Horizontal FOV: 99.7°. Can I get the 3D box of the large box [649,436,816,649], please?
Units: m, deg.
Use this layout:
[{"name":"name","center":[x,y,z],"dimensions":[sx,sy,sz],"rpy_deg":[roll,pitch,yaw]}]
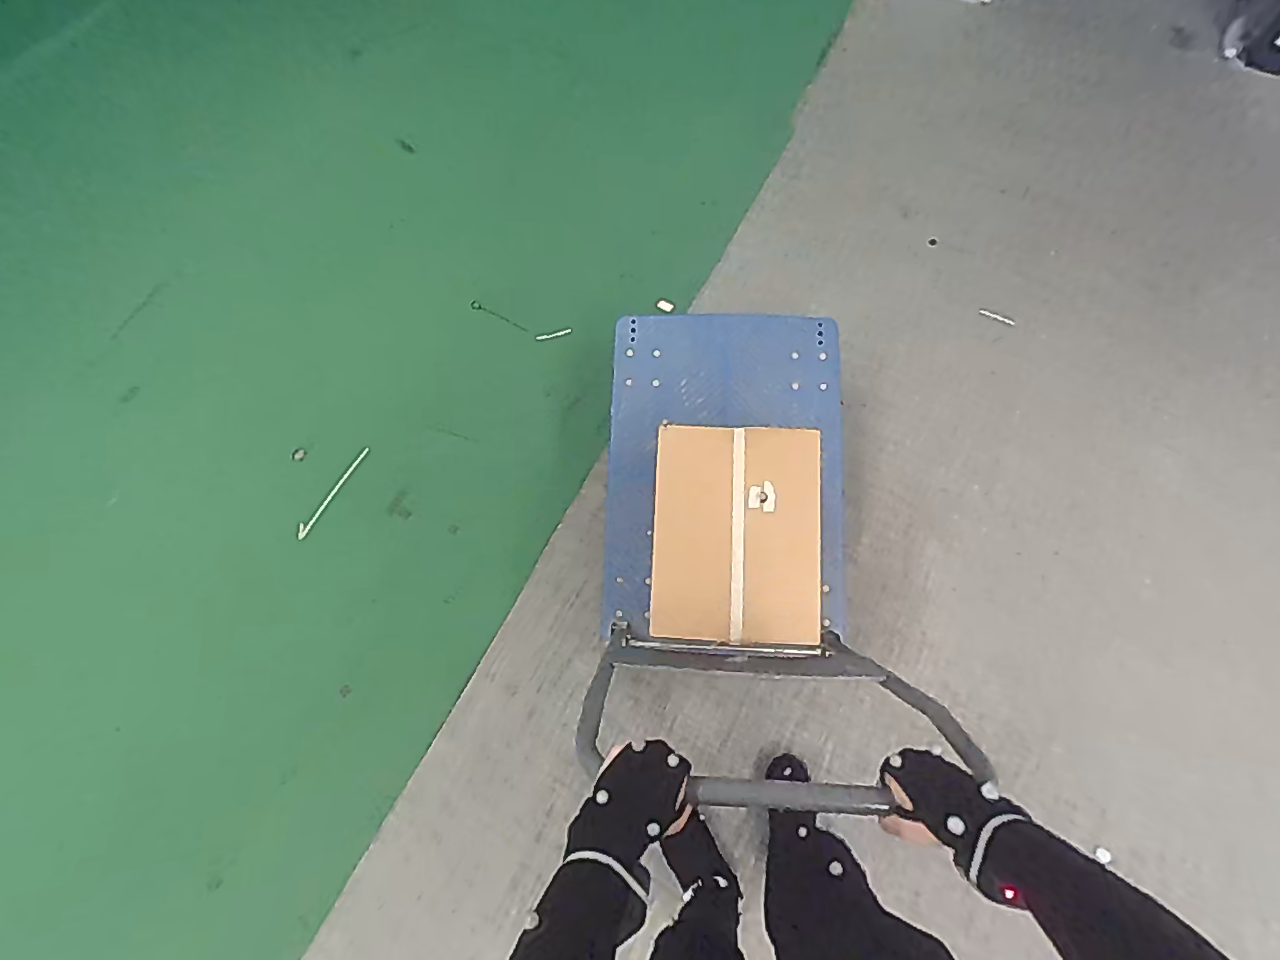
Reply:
[{"name":"large box","center":[0.189,0.138,1.183],"dimensions":[0.320,0.320,0.408],"rpy_deg":[3,81,3]}]
